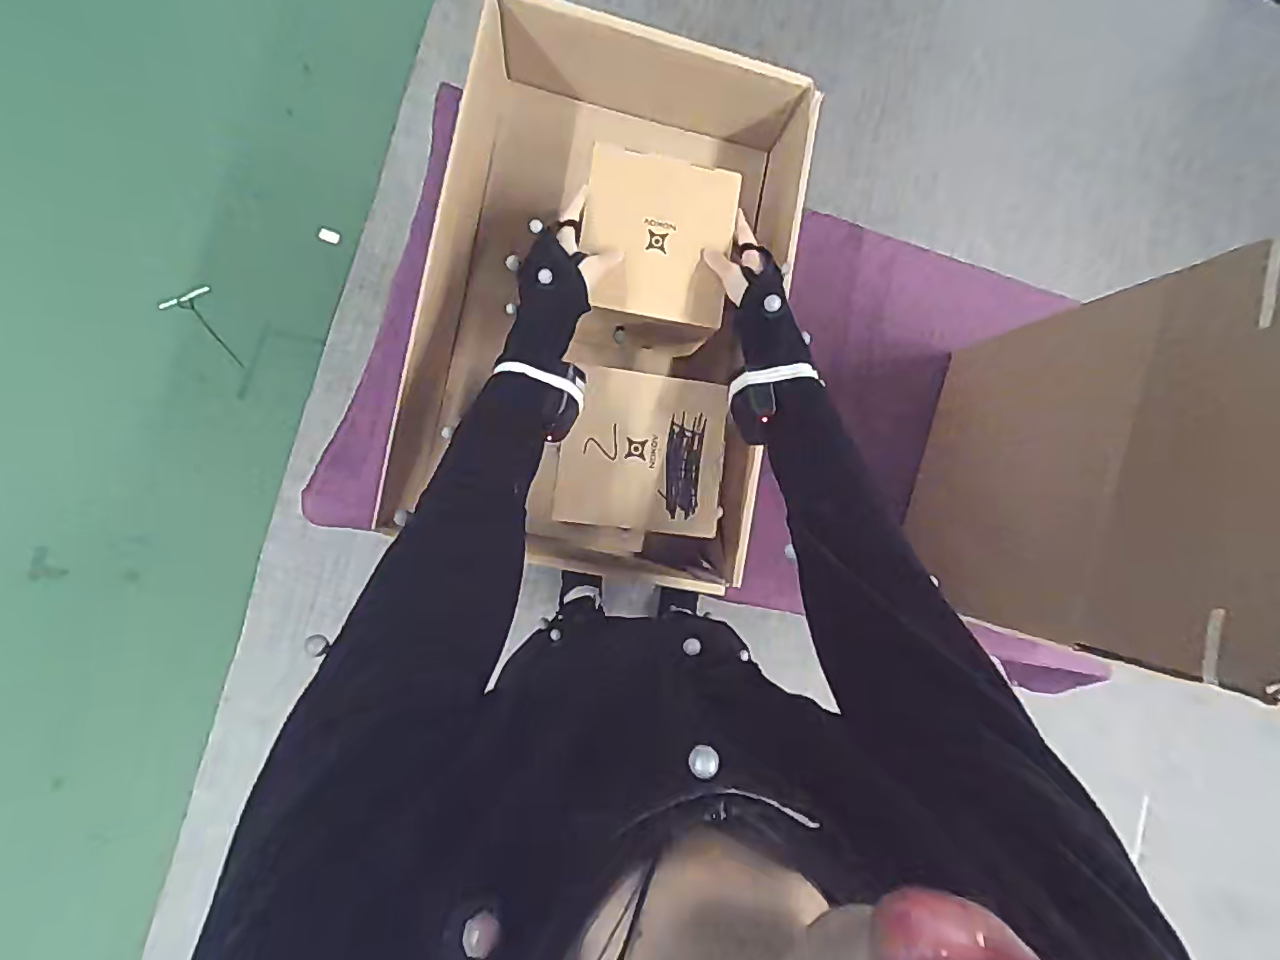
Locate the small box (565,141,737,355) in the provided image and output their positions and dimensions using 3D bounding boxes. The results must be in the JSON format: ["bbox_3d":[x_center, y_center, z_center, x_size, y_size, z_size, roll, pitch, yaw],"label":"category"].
[{"bbox_3d":[0.005,-0.263,0.658,0.168,0.176,0.179,8,88,-7],"label":"small box"}]
